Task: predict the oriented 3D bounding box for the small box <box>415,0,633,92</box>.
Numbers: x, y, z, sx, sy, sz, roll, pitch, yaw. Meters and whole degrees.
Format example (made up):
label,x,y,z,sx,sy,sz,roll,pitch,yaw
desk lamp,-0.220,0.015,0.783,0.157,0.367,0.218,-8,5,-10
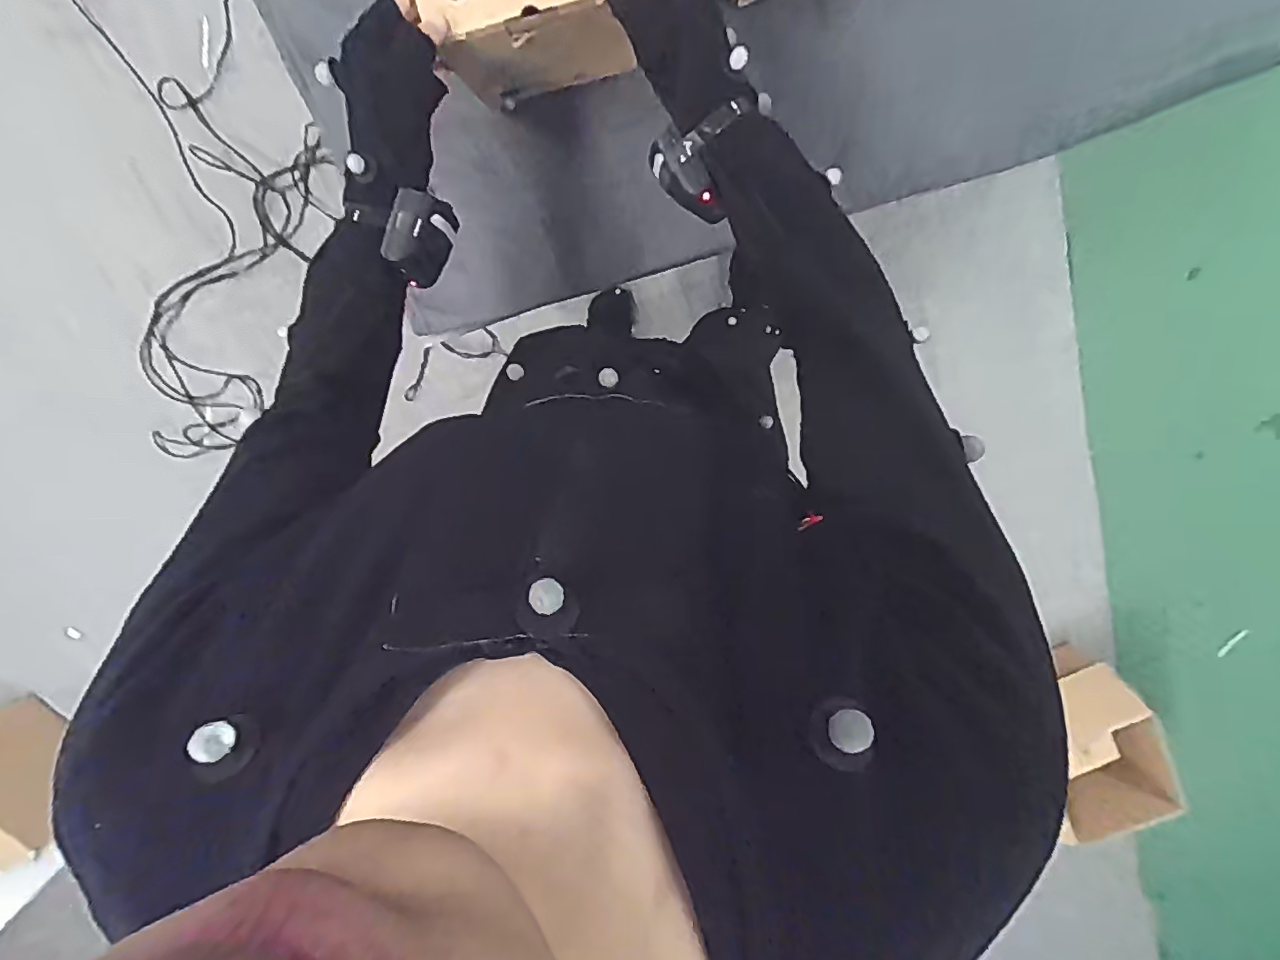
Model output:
label,x,y,z,sx,sy,sz,roll,pitch,yaw
small box,-0.102,-0.460,0.457,0.168,0.176,0.179,-12,110,4
